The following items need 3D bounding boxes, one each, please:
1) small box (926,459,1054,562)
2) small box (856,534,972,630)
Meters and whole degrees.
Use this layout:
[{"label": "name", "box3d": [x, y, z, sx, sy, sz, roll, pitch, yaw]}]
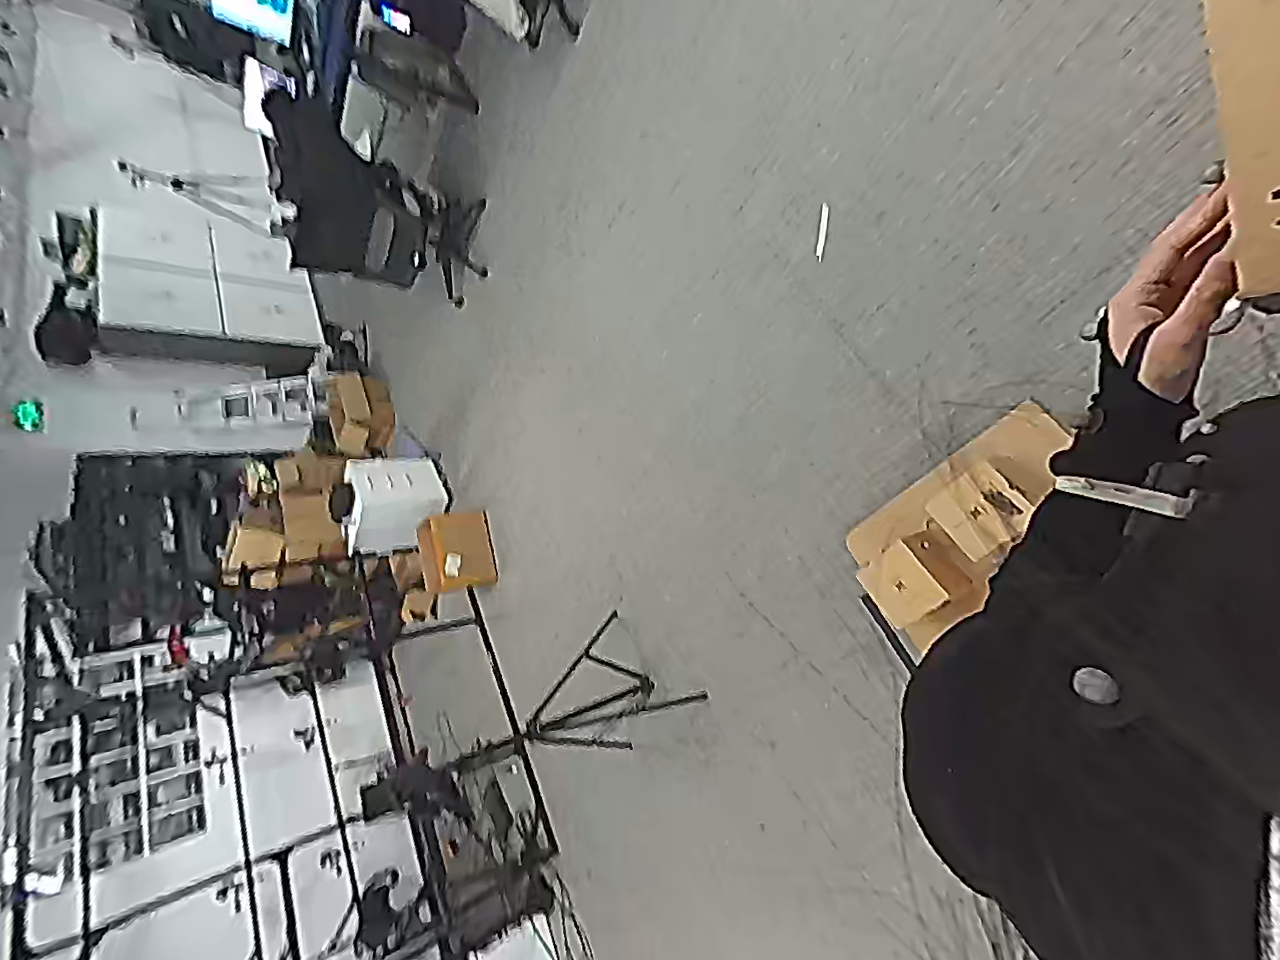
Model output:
[{"label": "small box", "box3d": [0.813, 0.064, 1.250, 0.179, 0.176, 0.168, -54, 55, 36]}, {"label": "small box", "box3d": [0.705, 0.254, 1.392, 0.179, 0.176, 0.168, 57, 132, 28]}]
